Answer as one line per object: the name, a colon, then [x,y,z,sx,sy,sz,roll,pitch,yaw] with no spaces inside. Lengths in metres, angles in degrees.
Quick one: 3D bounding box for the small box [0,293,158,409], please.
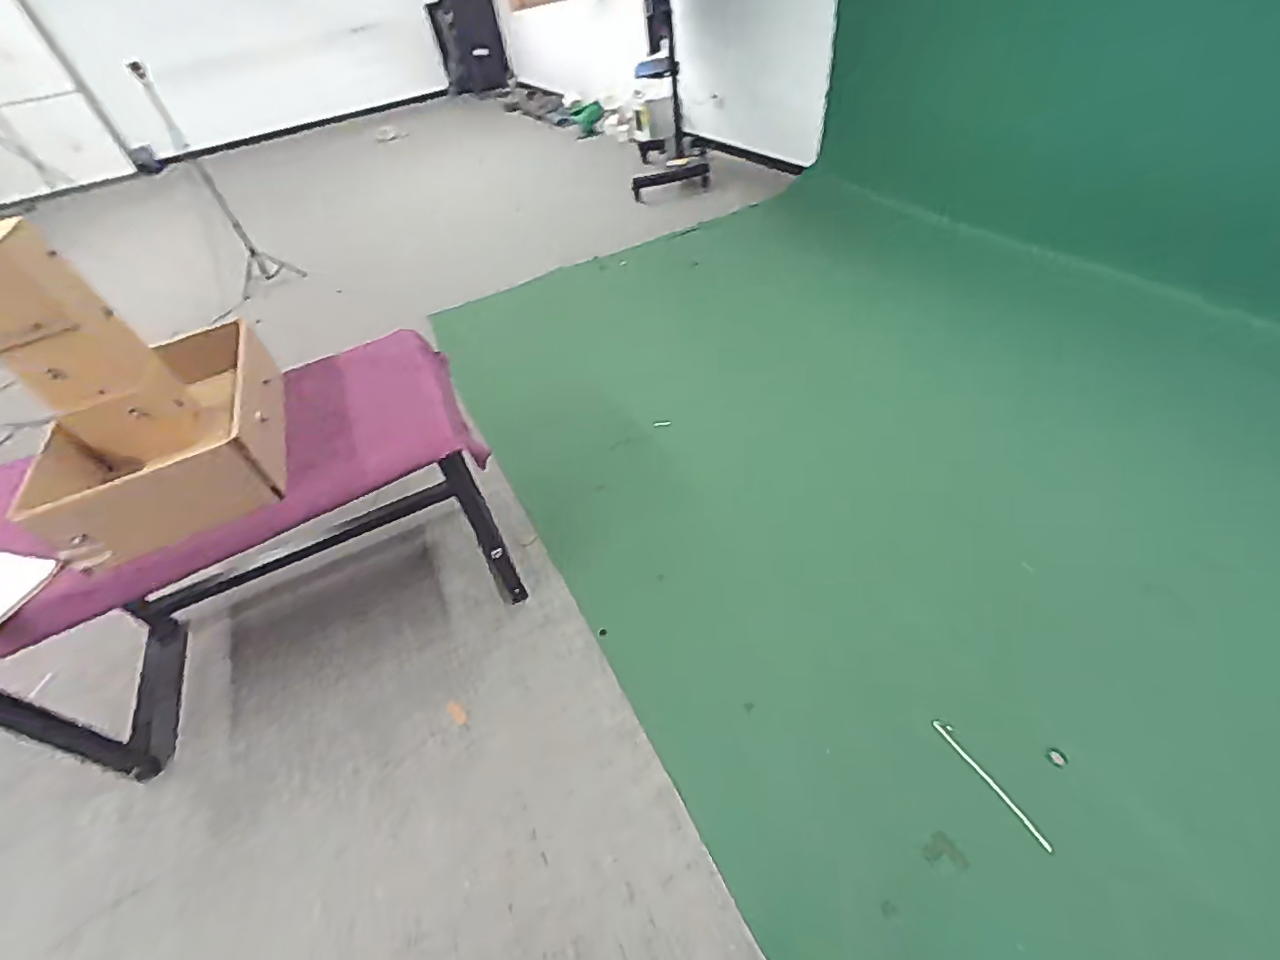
small box: [-1.216,-0.277,1.188,0.168,0.176,0.179,-23,48,-12]
